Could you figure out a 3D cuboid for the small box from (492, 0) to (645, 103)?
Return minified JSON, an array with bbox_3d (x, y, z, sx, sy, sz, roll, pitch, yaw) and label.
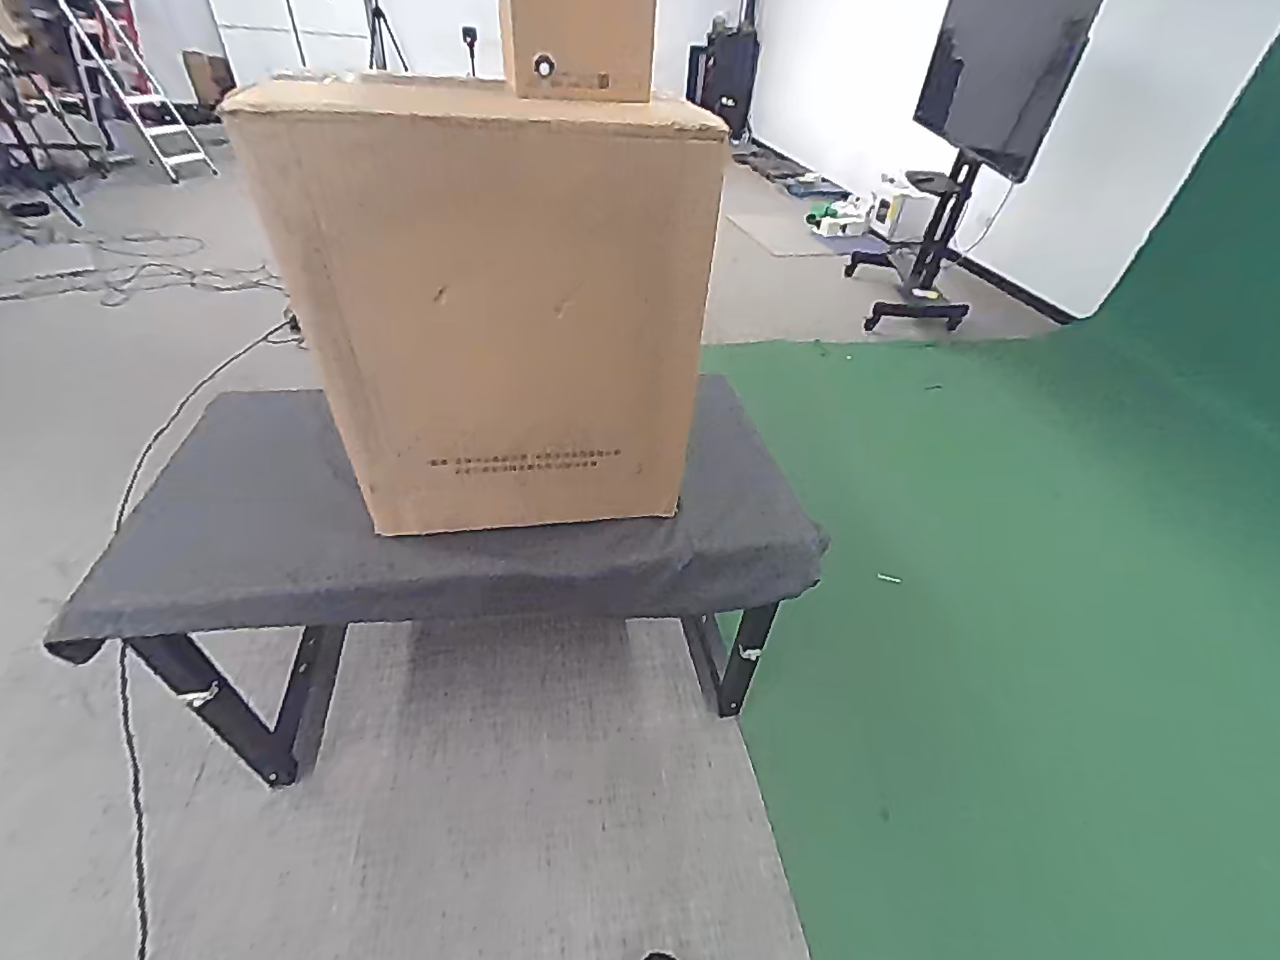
[{"bbox_3d":[-0.091,-0.573,0.660,0.168,0.176,0.179,-9,43,-14],"label":"small box"}]
